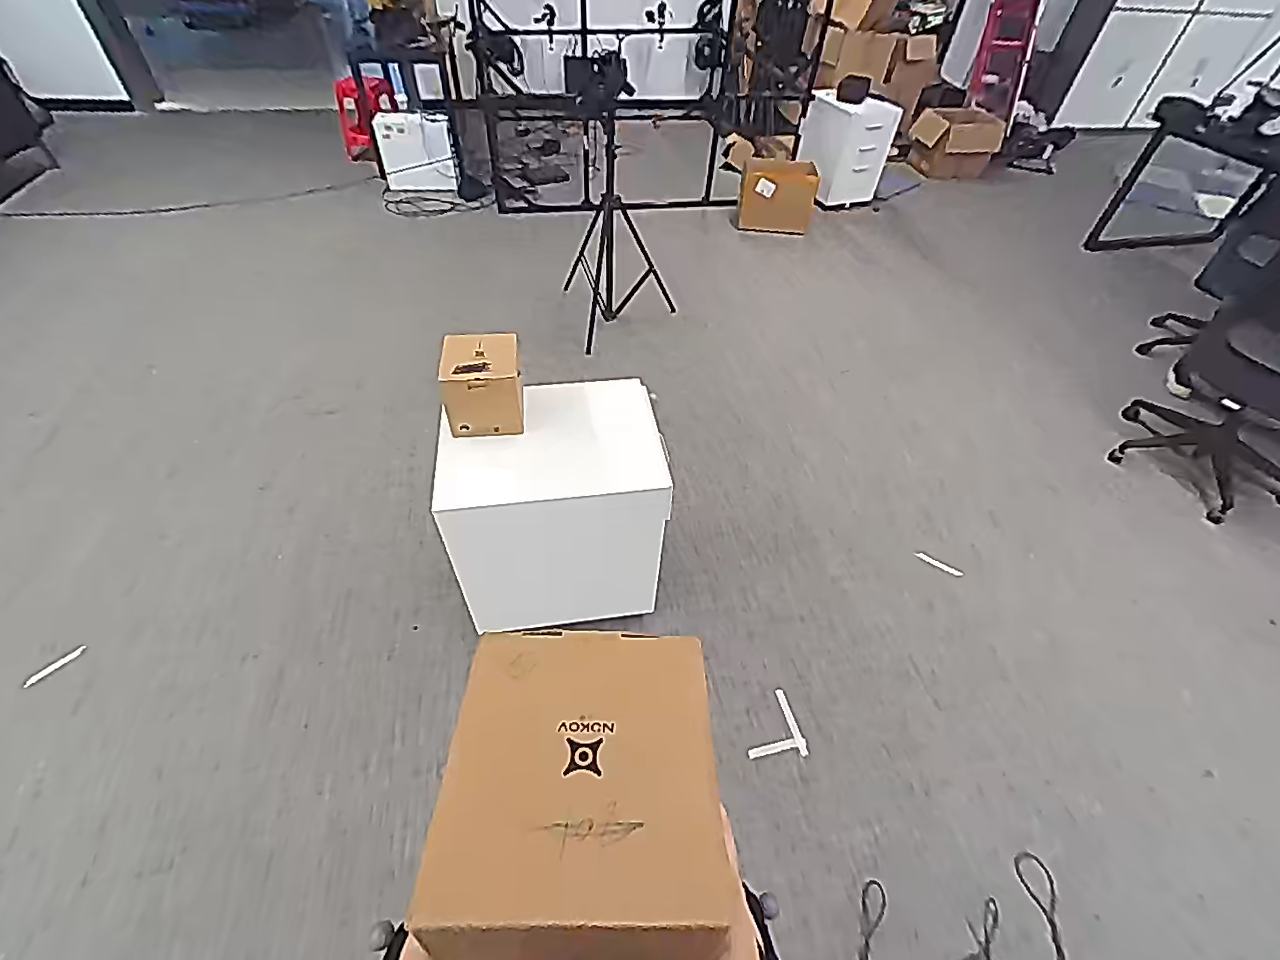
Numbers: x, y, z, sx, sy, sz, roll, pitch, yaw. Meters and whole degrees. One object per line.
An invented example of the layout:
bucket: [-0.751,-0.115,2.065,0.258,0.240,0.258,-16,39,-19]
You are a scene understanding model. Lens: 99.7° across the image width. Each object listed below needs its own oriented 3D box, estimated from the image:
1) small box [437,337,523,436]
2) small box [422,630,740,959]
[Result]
small box: [-0.367,-0.214,1.268,0.168,0.176,0.179,-4,48,-8]
small box: [-0.035,0.231,0.387,0.168,0.176,0.179,1,39,-3]
